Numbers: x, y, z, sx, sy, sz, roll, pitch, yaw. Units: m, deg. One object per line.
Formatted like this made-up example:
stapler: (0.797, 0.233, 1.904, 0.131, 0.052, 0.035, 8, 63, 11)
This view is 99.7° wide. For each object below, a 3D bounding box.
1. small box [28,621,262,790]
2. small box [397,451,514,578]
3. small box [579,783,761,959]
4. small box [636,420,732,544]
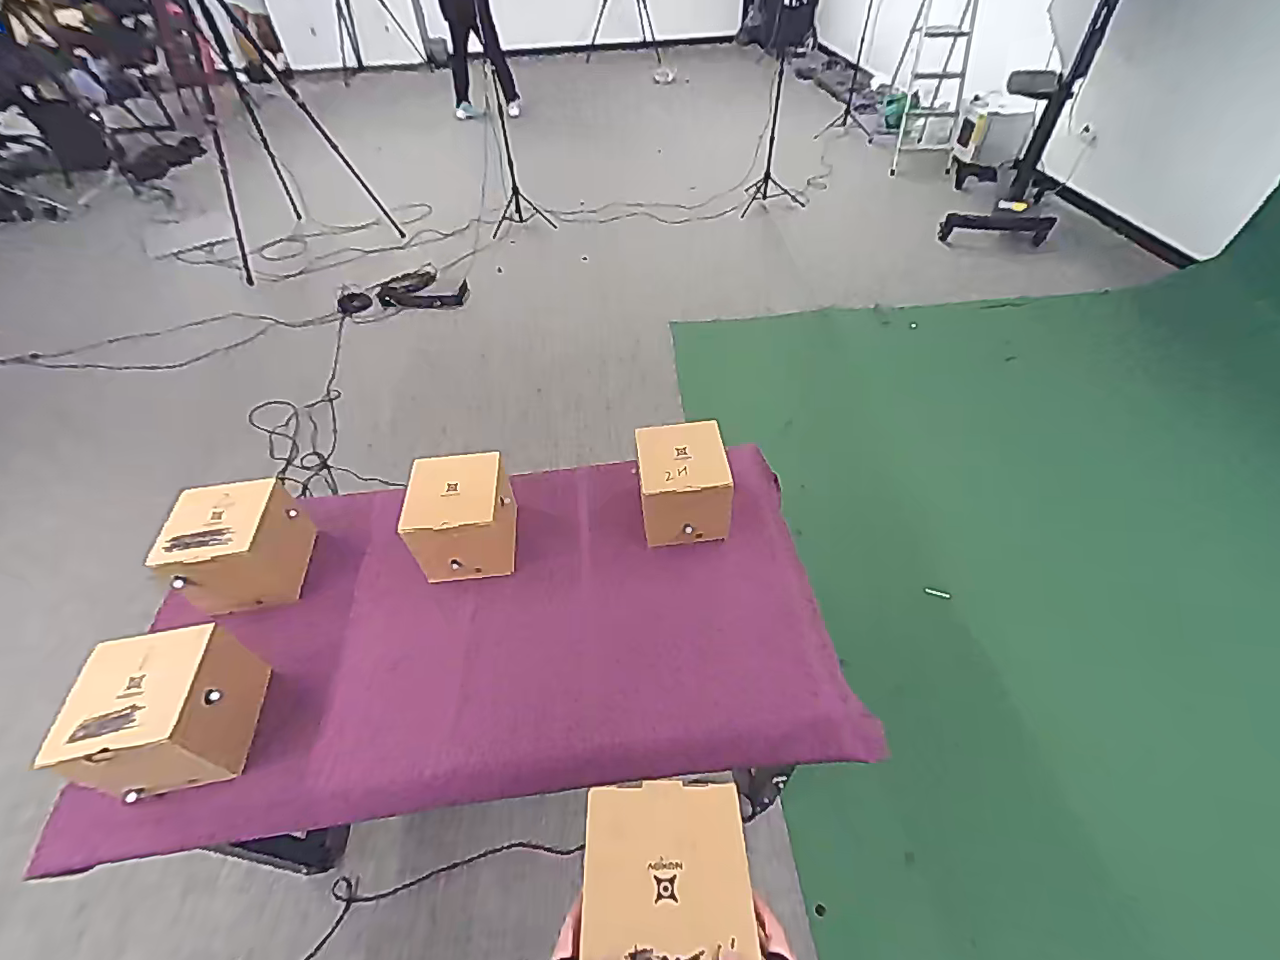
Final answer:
small box: (-0.703, 0.339, 0.801, 0.168, 0.176, 0.179, -9, 47, -7)
small box: (-0.342, 0.067, 1.039, 0.168, 0.176, 0.179, -5, 49, -3)
small box: (0.029, 0.454, 0.581, 0.168, 0.176, 0.179, -2, 39, 1)
small box: (0.082, 0.005, 1.075, 0.168, 0.176, 0.179, -6, 49, -1)
